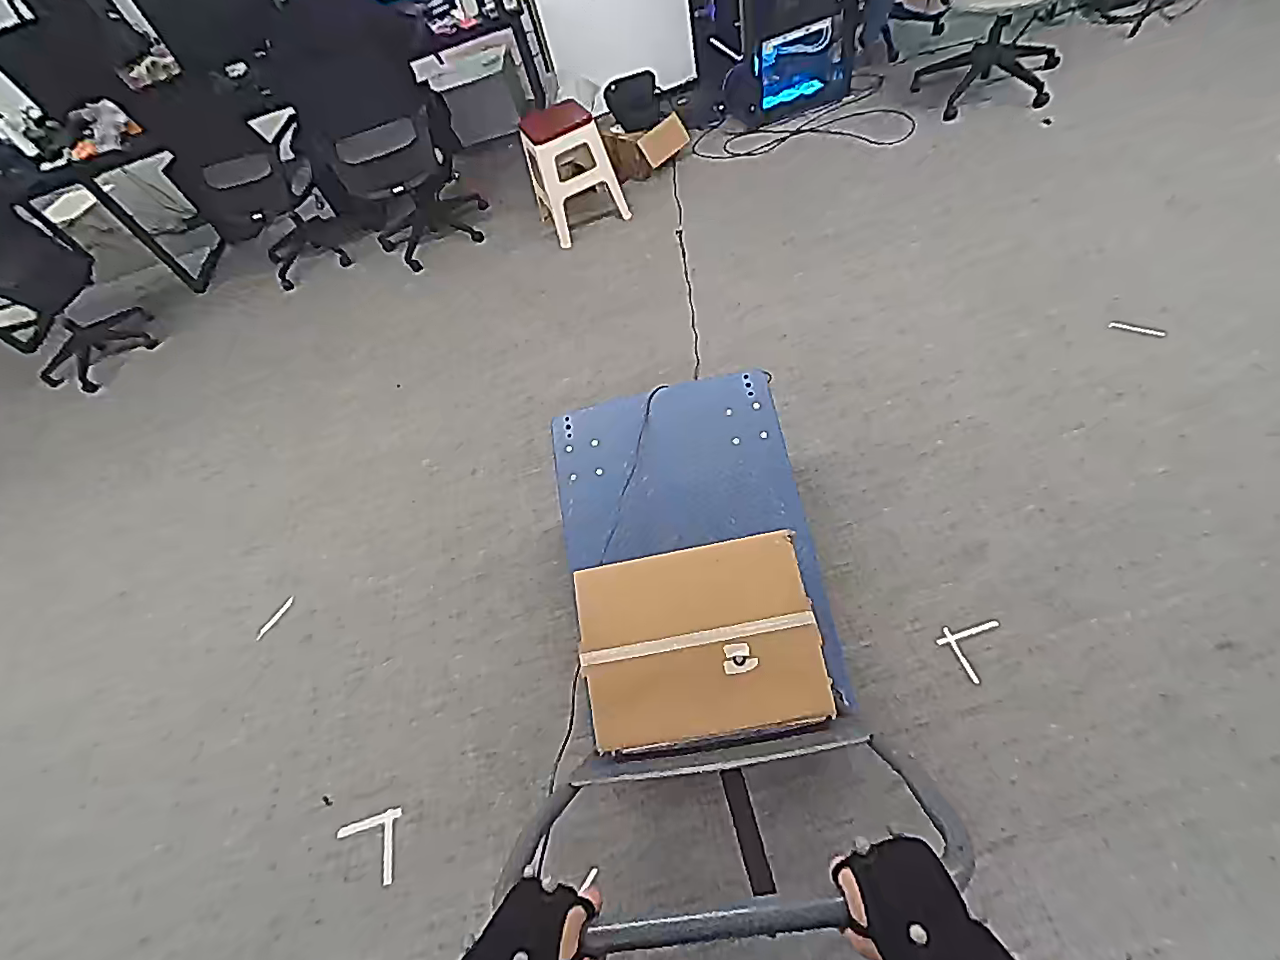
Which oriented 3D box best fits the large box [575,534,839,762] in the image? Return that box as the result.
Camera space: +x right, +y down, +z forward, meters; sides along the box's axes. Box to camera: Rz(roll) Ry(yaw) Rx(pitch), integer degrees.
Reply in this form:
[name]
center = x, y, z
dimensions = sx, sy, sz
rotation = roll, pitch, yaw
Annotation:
[large box]
center = 0.120, 0.324, 1.061
dimensions = 0.408, 0.320, 0.320
rotation = -12, 73, 5
